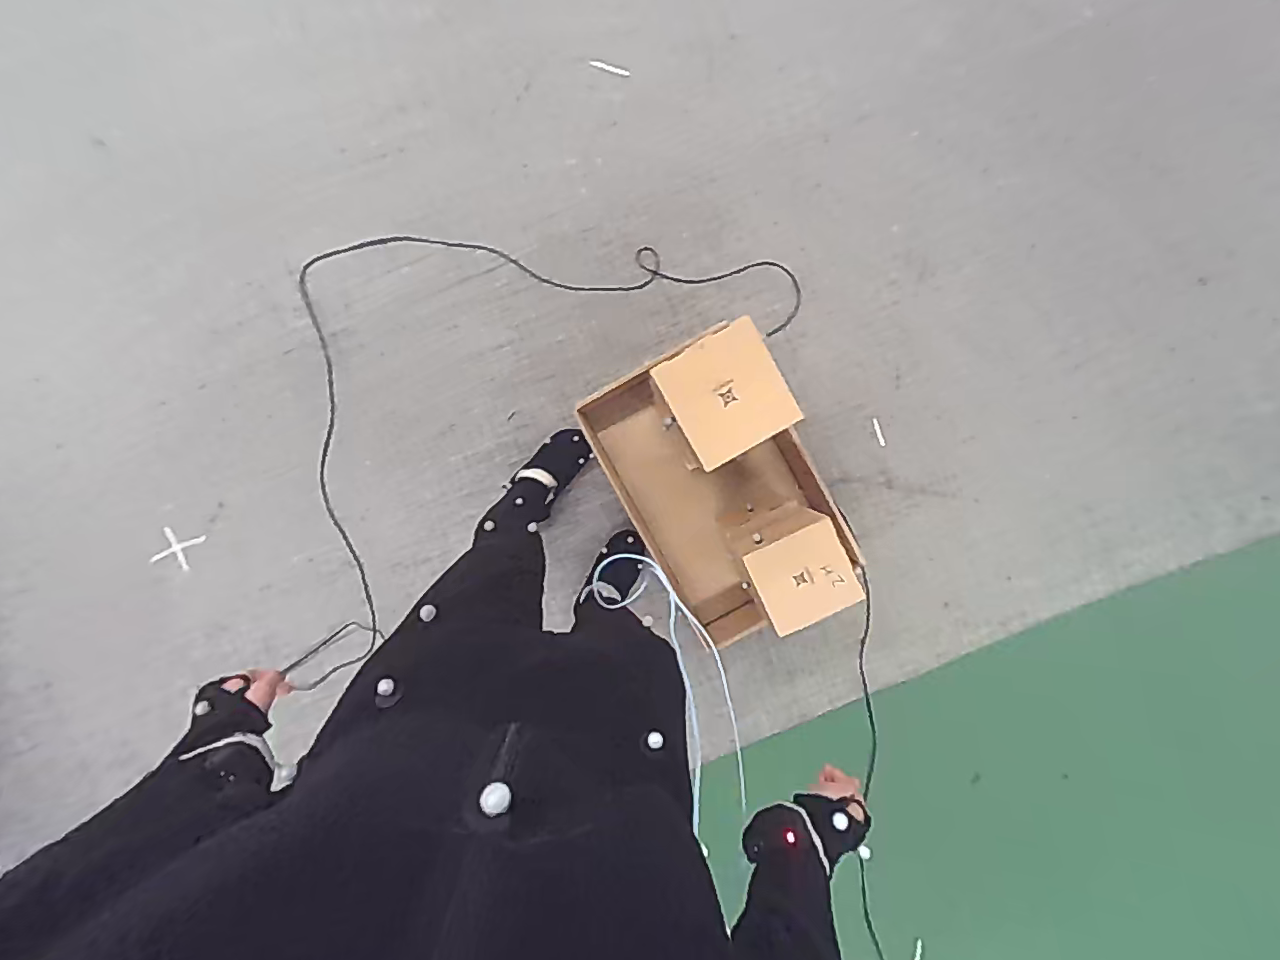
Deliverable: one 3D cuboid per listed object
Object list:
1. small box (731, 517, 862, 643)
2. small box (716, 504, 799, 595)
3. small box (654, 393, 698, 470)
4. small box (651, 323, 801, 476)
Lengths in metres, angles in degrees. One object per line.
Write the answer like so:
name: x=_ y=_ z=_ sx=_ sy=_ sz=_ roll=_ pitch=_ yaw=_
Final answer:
small box: x=0.287 y=0.183 z=1.043 sx=0.179 sy=0.176 sz=0.168 roll=-24 pitch=93 yaw=0
small box: x=0.282 y=0.162 z=1.208 sx=0.168 sy=0.176 sz=0.179 roll=-24 pitch=91 yaw=1
small box: x=0.132 y=-0.130 z=1.033 sx=0.168 sy=0.176 sz=0.179 roll=-24 pitch=93 yaw=2
small box: x=0.131 y=-0.122 z=0.871 sx=0.168 sy=0.176 sz=0.179 roll=-29 pitch=91 yaw=3
